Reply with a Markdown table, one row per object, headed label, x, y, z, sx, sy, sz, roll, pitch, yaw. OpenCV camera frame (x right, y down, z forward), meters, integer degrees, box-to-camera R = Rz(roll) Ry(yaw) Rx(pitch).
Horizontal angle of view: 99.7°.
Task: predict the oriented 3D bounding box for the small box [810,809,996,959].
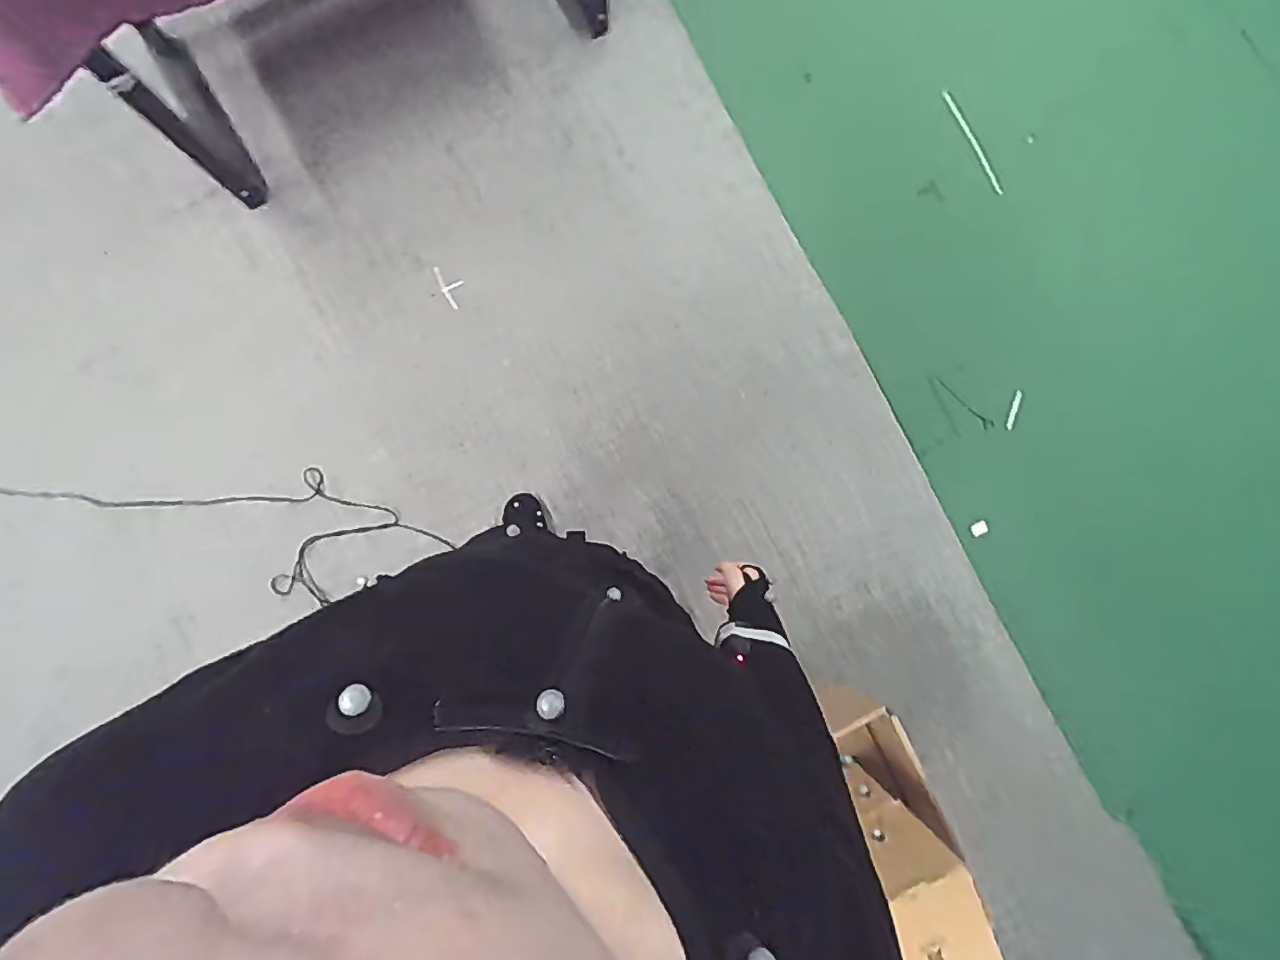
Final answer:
| label | x | y | z | sx | sy | sz | roll | pitch | yaw |
| --- | --- | --- | --- | --- | --- | --- | --- | --- | --- |
| small box | 0.373 | 0.627 | 0.781 | 0.168 | 0.176 | 0.179 | -20 | 87 | -4 |
